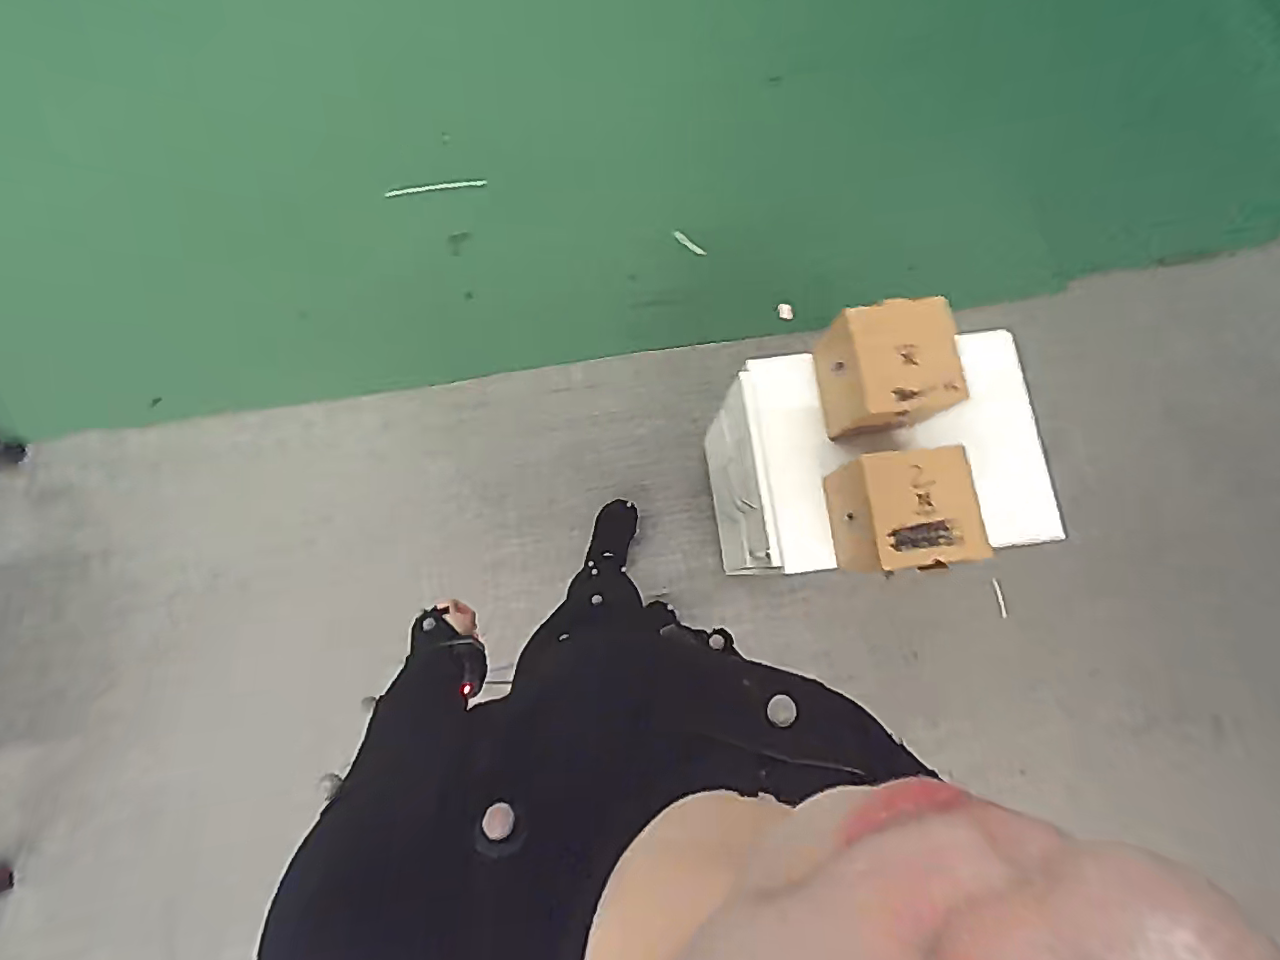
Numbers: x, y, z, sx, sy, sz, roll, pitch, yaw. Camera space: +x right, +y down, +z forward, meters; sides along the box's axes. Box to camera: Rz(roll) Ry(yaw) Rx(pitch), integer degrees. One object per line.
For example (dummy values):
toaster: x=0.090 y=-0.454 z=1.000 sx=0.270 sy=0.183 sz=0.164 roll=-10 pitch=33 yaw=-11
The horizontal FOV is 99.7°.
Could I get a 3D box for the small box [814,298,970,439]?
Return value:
small box: x=0.411 y=-0.181 z=0.915 sx=0.168 sy=0.176 sz=0.179 roll=-8 pitch=80 yaw=-3
